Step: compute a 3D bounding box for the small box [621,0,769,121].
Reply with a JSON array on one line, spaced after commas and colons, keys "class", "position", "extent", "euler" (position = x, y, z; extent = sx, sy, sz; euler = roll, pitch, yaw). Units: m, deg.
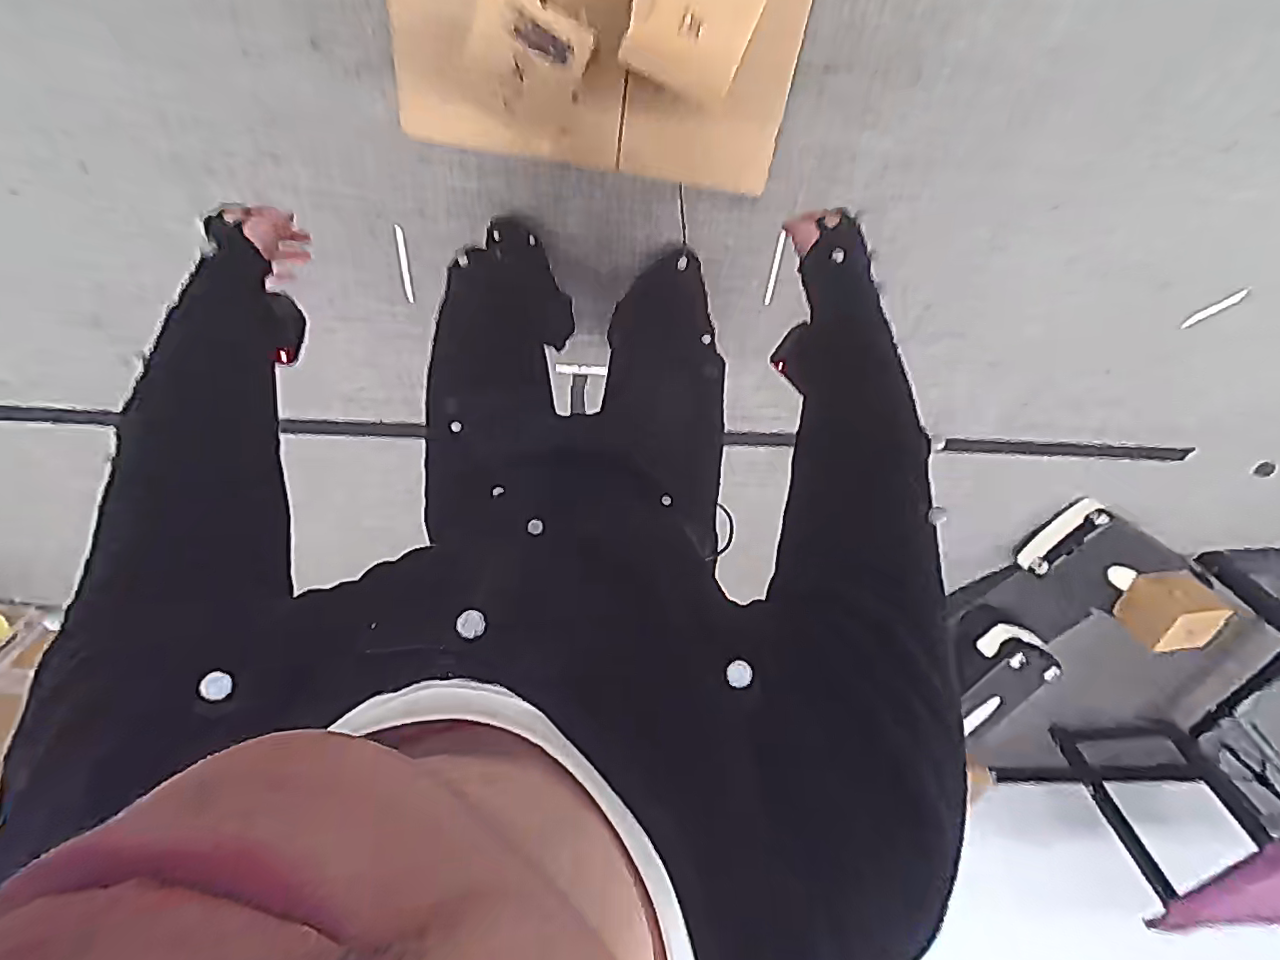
[{"class": "small box", "position": [0.083, -0.721, 0.879], "extent": [0.179, 0.176, 0.168], "euler": [20, 125, -12]}]
